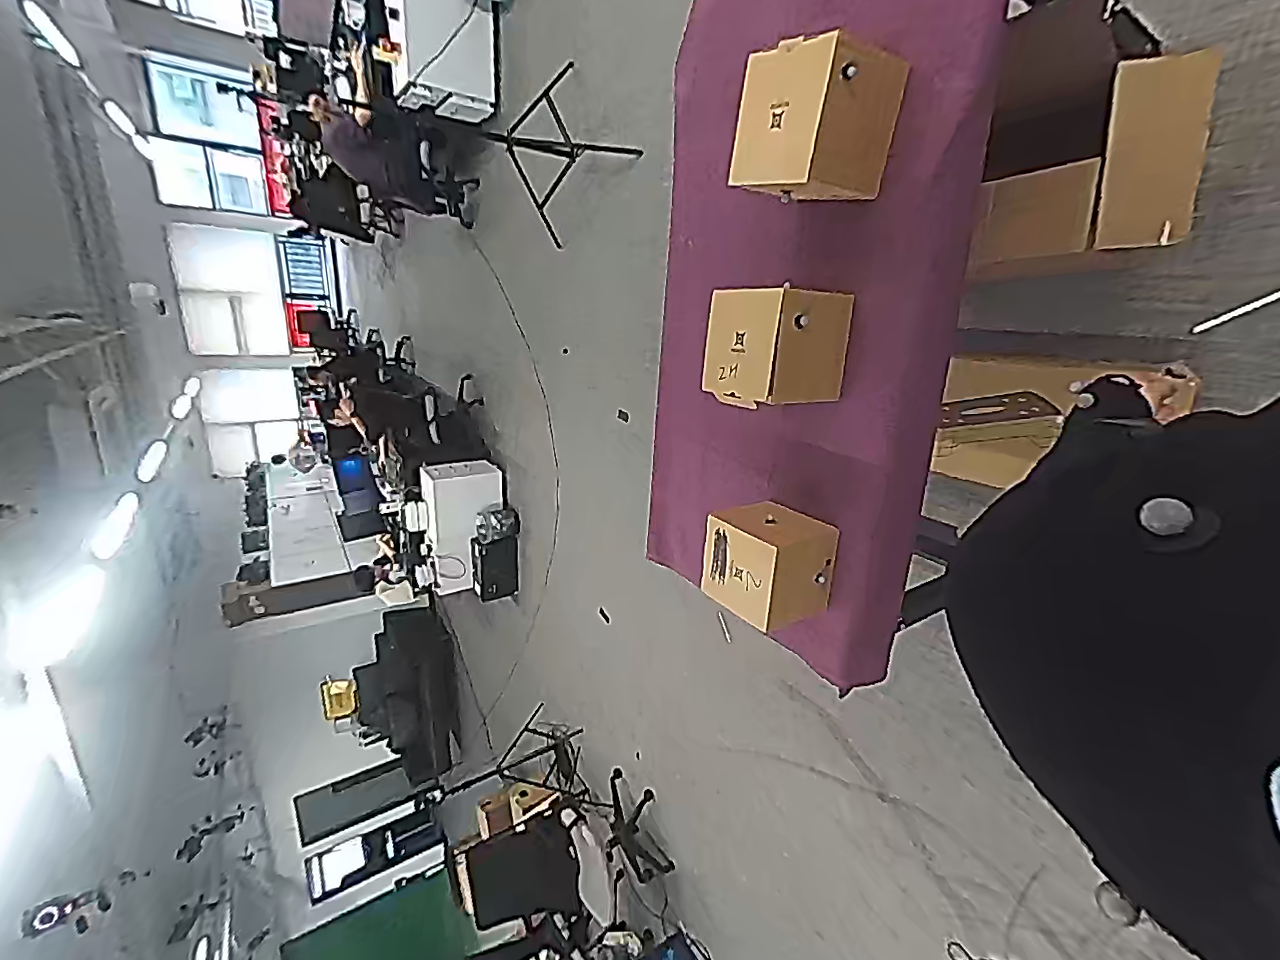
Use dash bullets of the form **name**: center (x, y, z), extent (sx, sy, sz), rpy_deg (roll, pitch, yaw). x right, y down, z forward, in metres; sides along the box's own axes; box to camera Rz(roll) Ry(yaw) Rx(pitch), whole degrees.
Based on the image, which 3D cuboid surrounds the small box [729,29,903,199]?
- **small box**: center (0.261, -0.528, 0.811), extent (0.168, 0.176, 0.179), rpy_deg (35, 125, 48)

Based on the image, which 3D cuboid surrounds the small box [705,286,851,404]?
- **small box**: center (0.233, -0.231, 0.921), extent (0.168, 0.176, 0.179), rpy_deg (27, 120, 54)
